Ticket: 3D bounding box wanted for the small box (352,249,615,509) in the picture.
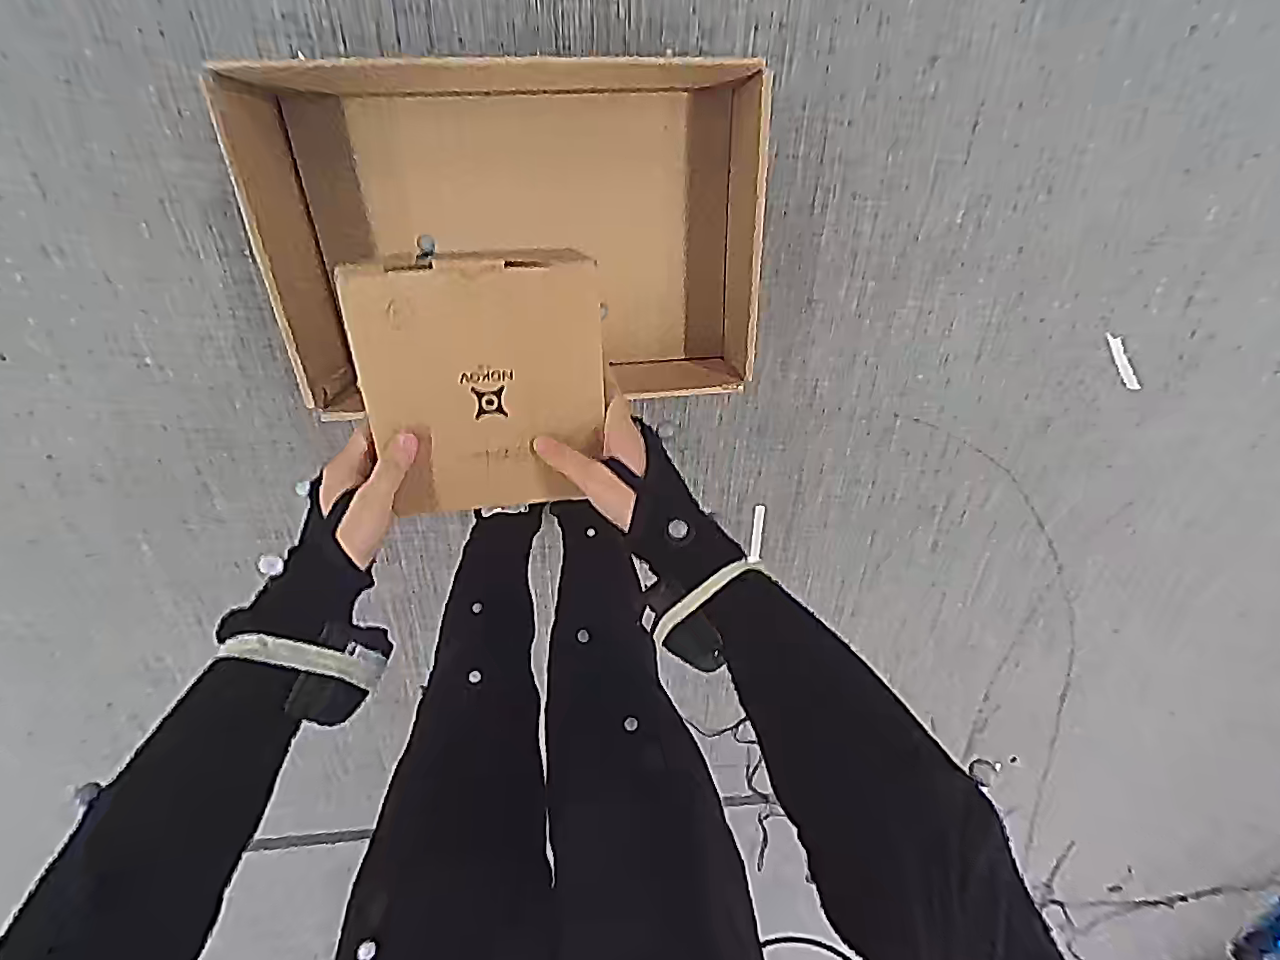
[{"bbox_3d":[-0.117,-0.098,0.458,0.168,0.176,0.179,-6,118,-9],"label":"small box"}]
